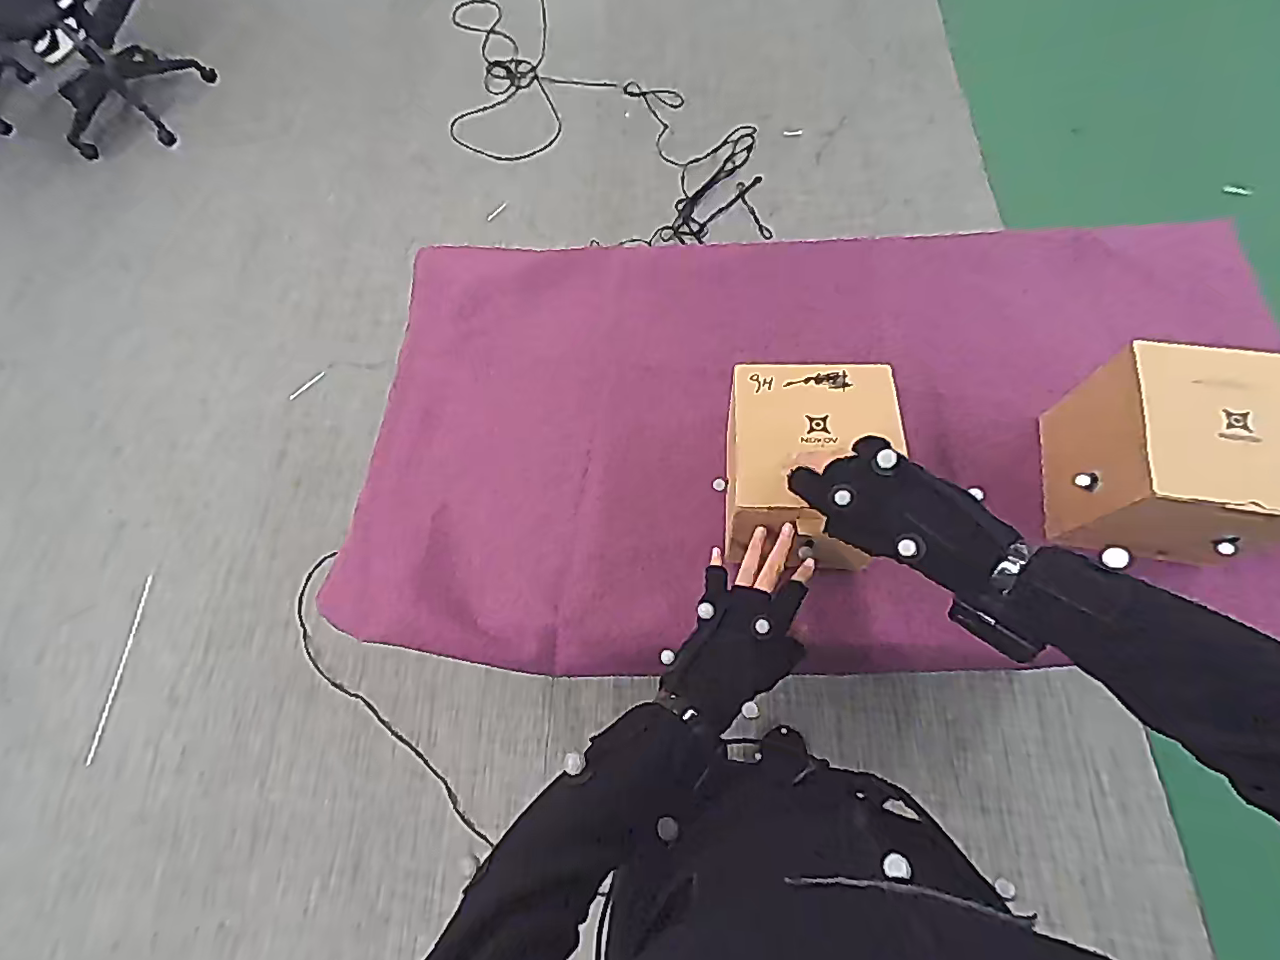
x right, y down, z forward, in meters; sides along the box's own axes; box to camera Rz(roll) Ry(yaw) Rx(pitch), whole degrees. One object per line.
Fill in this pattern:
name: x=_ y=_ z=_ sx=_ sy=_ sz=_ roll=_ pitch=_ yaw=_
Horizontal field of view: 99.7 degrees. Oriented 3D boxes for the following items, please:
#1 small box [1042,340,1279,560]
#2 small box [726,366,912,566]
small box: x=0.573 y=-0.023 z=0.586 sx=0.168 sy=0.176 sz=0.179 roll=9 pitch=69 yaw=10
small box: x=0.186 y=-0.009 z=0.615 sx=0.168 sy=0.176 sz=0.179 roll=1 pitch=63 yaw=7
